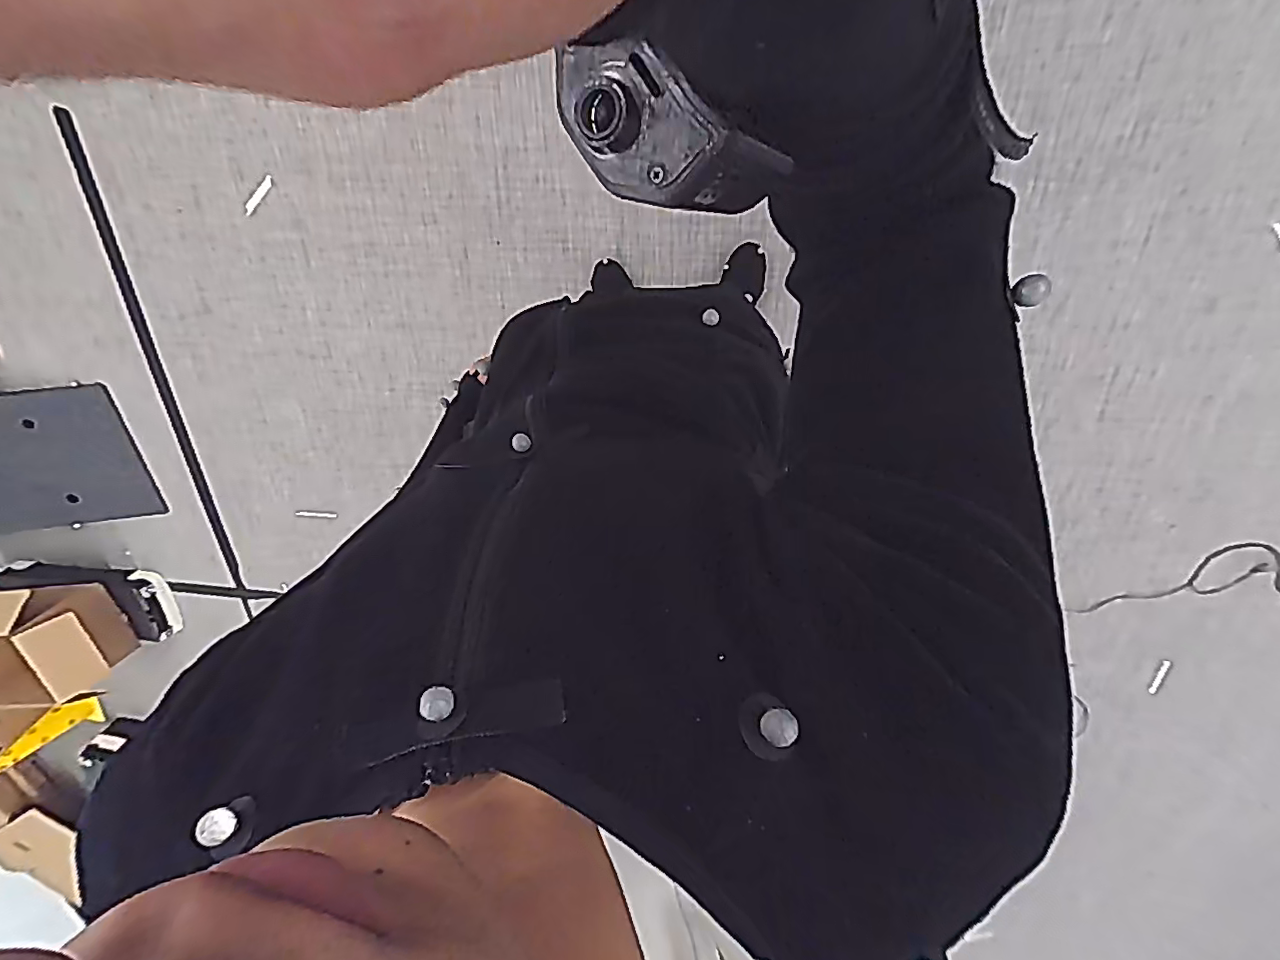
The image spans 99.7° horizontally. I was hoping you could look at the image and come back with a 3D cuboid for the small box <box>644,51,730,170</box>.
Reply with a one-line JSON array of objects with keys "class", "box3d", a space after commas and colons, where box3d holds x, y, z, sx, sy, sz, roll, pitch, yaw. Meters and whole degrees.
[{"class": "small box", "box3d": [0.111, -0.826, 1.226, 0.168, 0.176, 0.179, -7, 114, 12]}]
